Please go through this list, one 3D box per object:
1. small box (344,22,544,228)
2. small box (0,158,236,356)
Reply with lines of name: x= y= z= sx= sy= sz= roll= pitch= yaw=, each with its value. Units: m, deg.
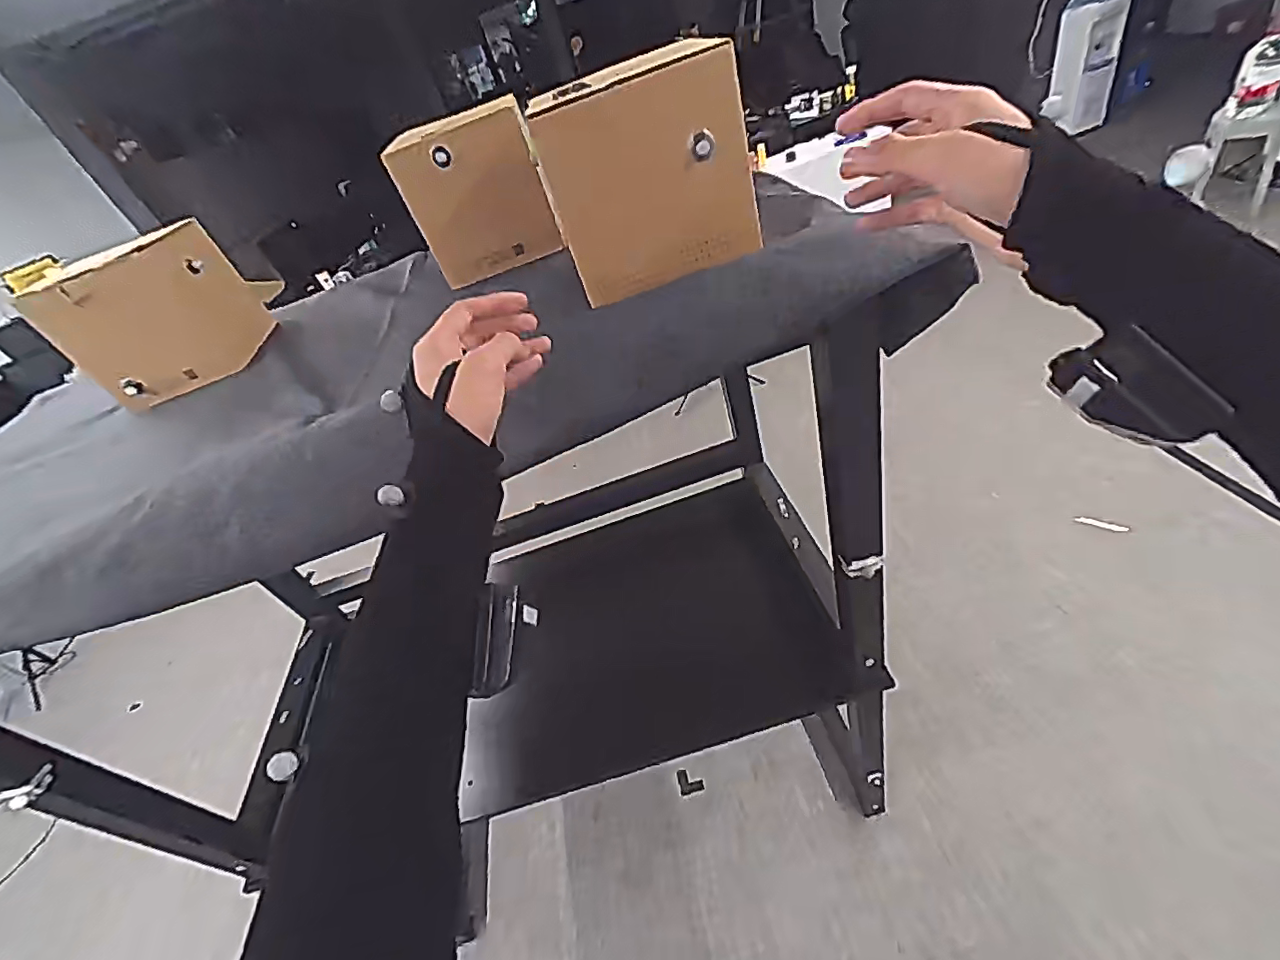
small box: x=-0.229 y=-0.442 z=0.683 sx=0.168 sy=0.176 sz=0.179 roll=-19 pitch=40 yaw=3
small box: x=-0.673 y=-0.281 z=0.695 sx=0.168 sy=0.176 sz=0.179 roll=-22 pitch=40 yaw=-1
